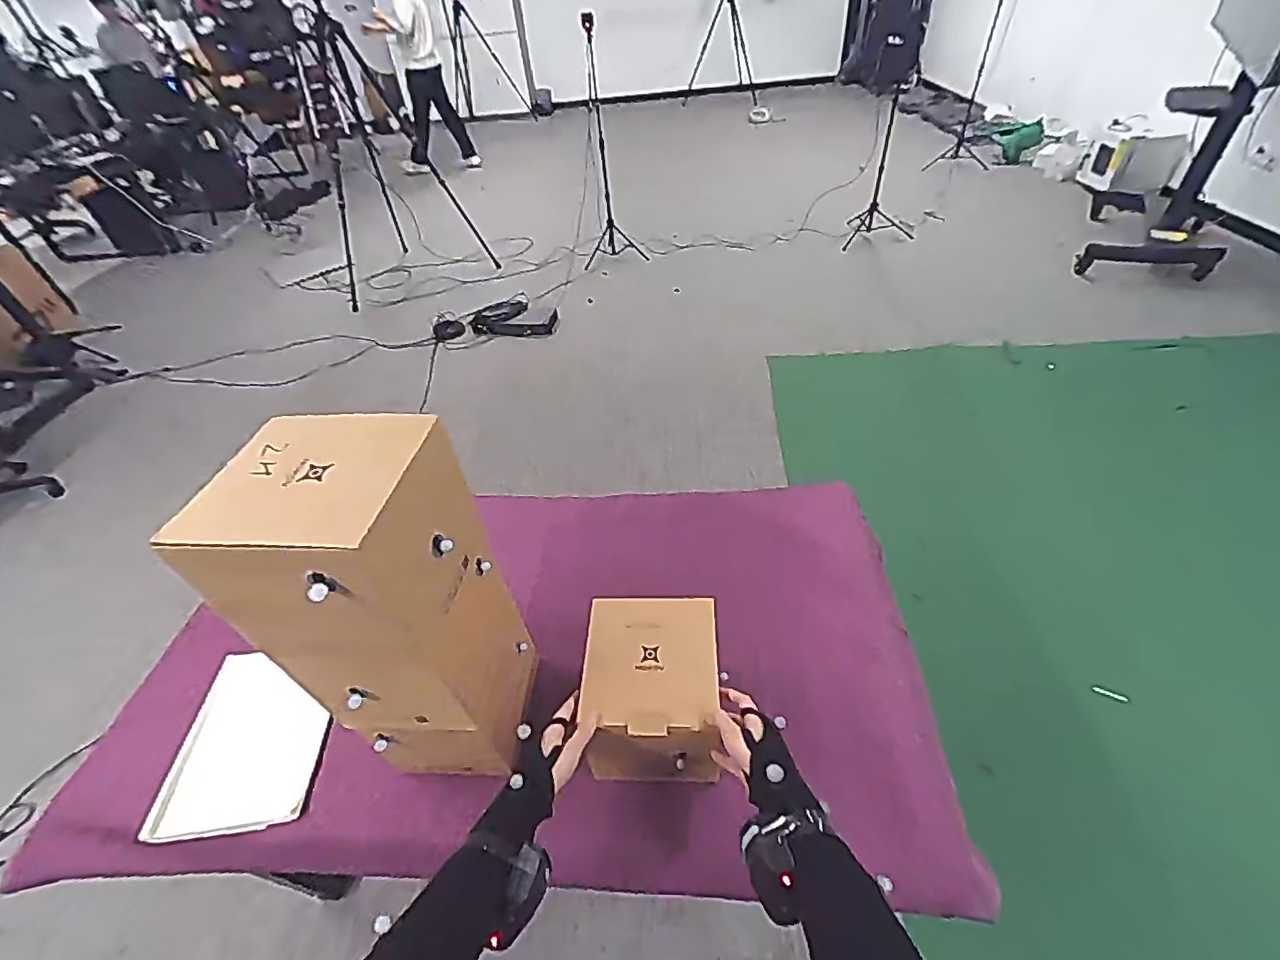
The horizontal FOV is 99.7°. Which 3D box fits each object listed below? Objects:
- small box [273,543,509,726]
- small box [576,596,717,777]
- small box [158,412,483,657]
[{"bbox_3d":[-0.265,0.168,0.631,0.168,0.176,0.179,-1,42,6],"label":"small box"},{"bbox_3d":[0.018,0.277,0.723,0.168,0.176,0.179,0,42,5],"label":"small box"},{"bbox_3d":[-0.270,0.052,0.514,0.179,0.176,0.168,0,42,7],"label":"small box"}]
